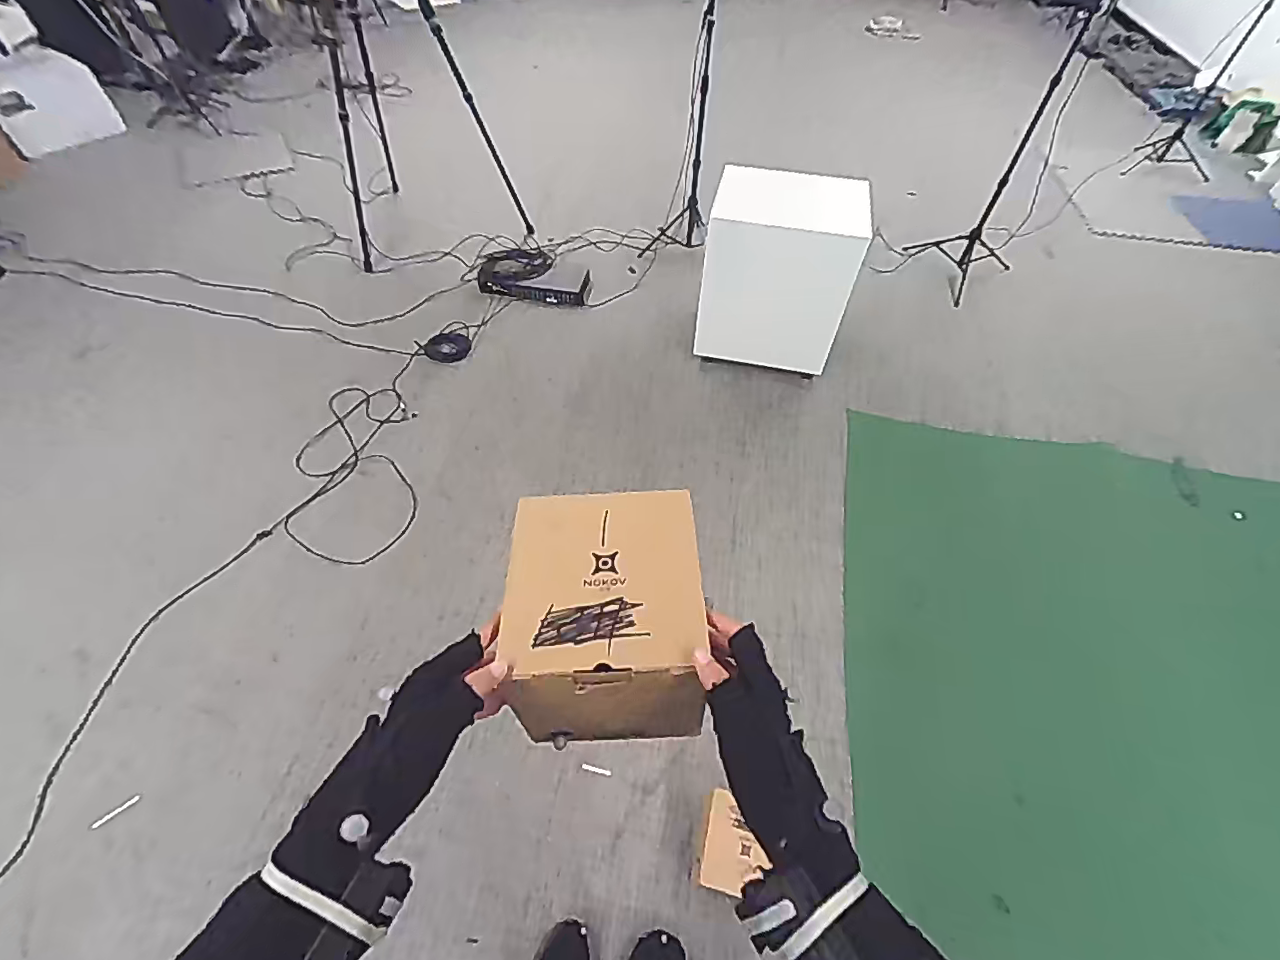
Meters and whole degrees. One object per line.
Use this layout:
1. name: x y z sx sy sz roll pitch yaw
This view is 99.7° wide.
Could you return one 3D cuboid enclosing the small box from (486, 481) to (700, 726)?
1. small box: -0.032 0.122 0.514 0.168 0.176 0.179 -2 48 0
